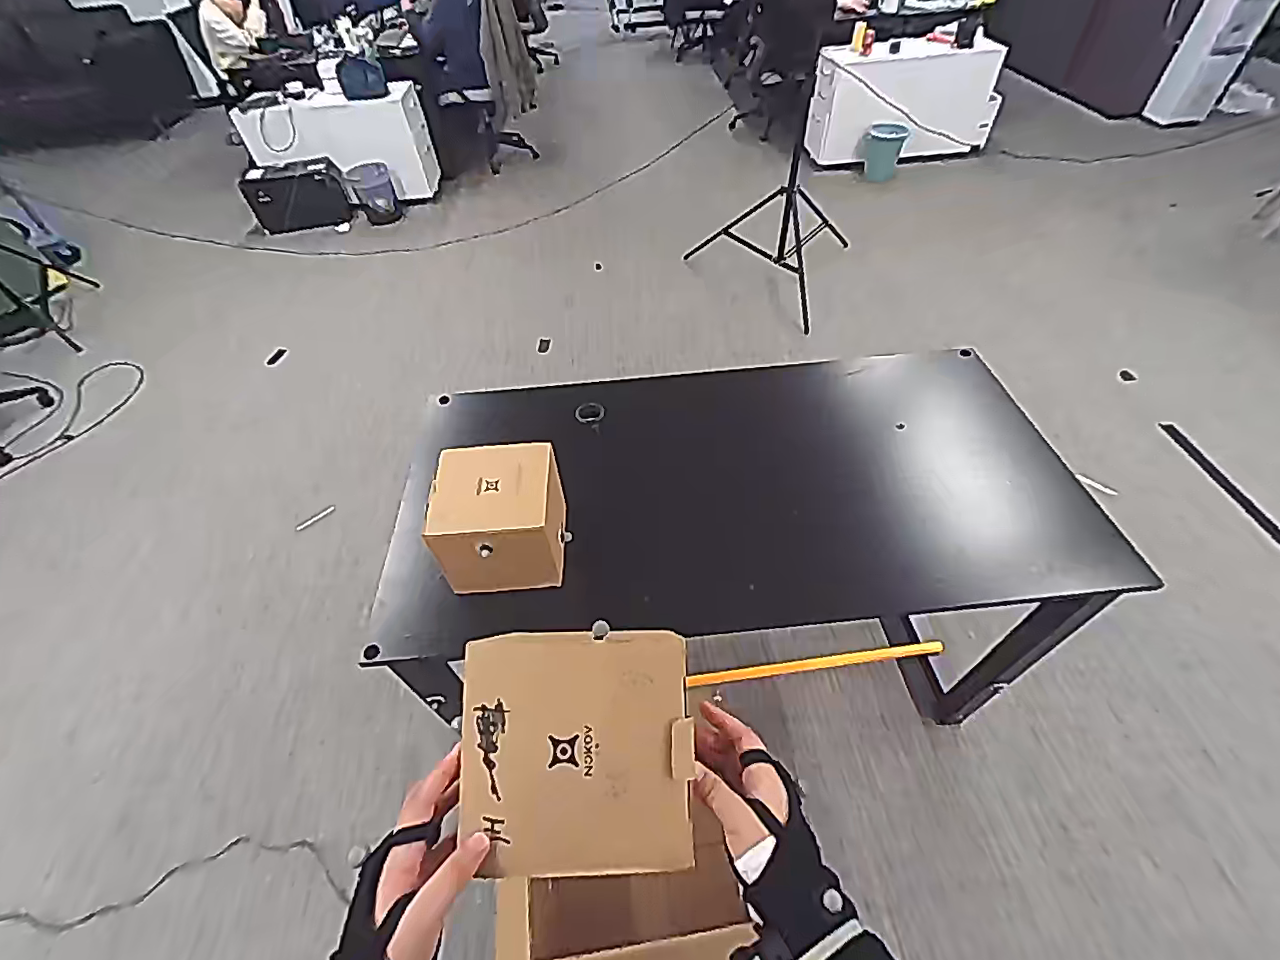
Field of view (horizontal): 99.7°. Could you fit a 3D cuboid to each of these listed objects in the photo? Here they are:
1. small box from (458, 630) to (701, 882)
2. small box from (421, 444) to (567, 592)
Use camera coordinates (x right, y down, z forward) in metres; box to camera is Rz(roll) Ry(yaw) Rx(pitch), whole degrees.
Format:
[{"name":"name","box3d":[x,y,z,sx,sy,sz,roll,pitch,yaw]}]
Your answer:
[{"name":"small box","box3d":[-0.047,0.223,0.481,0.179,0.176,0.168,-1,76,-2]},{"name":"small box","box3d":[-0.216,0.064,0.851,0.179,0.176,0.168,-4,50,-1]}]
